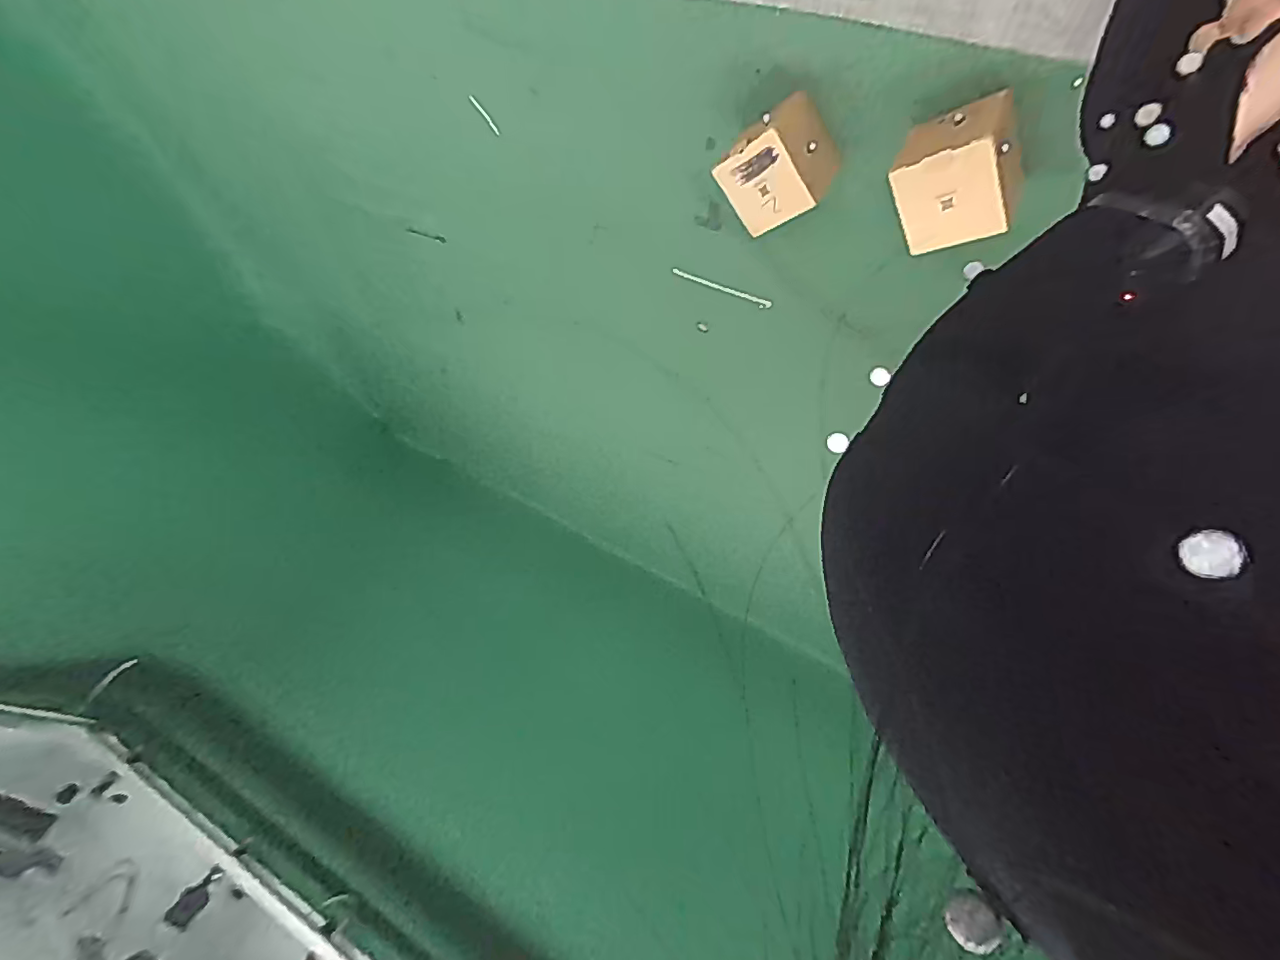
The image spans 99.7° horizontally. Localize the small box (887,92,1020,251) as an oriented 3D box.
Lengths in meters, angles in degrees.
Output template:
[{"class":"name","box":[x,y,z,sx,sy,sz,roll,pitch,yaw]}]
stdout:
[{"class":"small box","box":[0.591,-0.569,1.011,0.168,0.176,0.179,2,140,46]}]
